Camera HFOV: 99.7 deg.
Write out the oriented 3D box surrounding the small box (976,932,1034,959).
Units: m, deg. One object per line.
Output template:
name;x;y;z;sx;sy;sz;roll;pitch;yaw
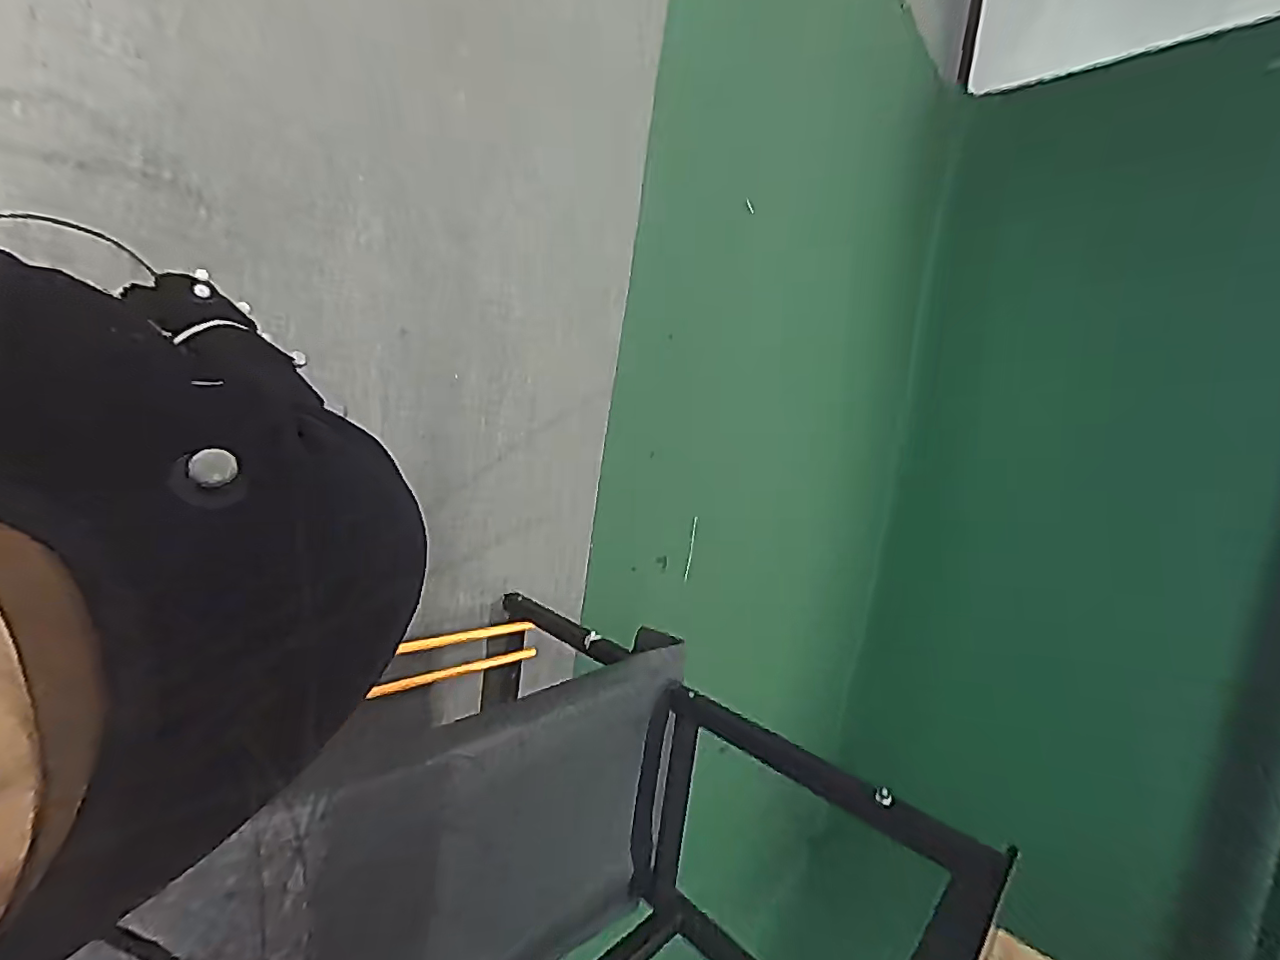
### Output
small box;0.525;0.777;0.721;0.168;0.176;0.179;3;97;-47
